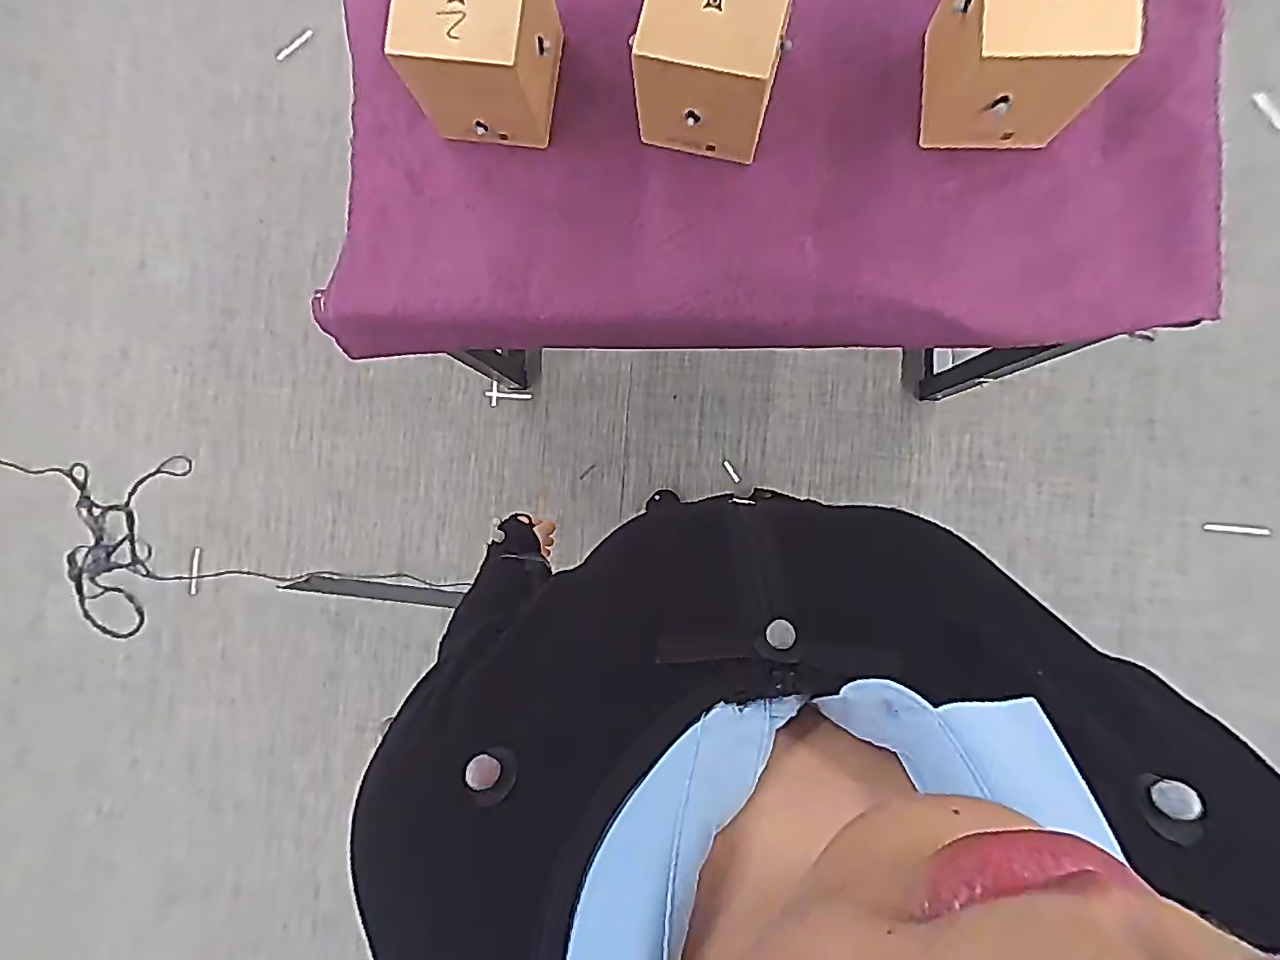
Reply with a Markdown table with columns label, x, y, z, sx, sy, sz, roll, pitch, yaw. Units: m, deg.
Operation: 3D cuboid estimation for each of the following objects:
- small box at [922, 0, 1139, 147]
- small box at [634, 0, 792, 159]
| label | x | y | z | sx | sy | sz | roll | pitch | yaw |
| --- | --- | --- | --- | --- | --- | --- | --- | --- | --- |
| small box | 0.475 | -0.552 | 0.681 | 0.168 | 0.176 | 0.179 | 4 | 88 | 6 |
| small box | 0.099 | -0.563 | 0.709 | 0.168 | 0.176 | 0.179 | 15 | 90 | 4 |
